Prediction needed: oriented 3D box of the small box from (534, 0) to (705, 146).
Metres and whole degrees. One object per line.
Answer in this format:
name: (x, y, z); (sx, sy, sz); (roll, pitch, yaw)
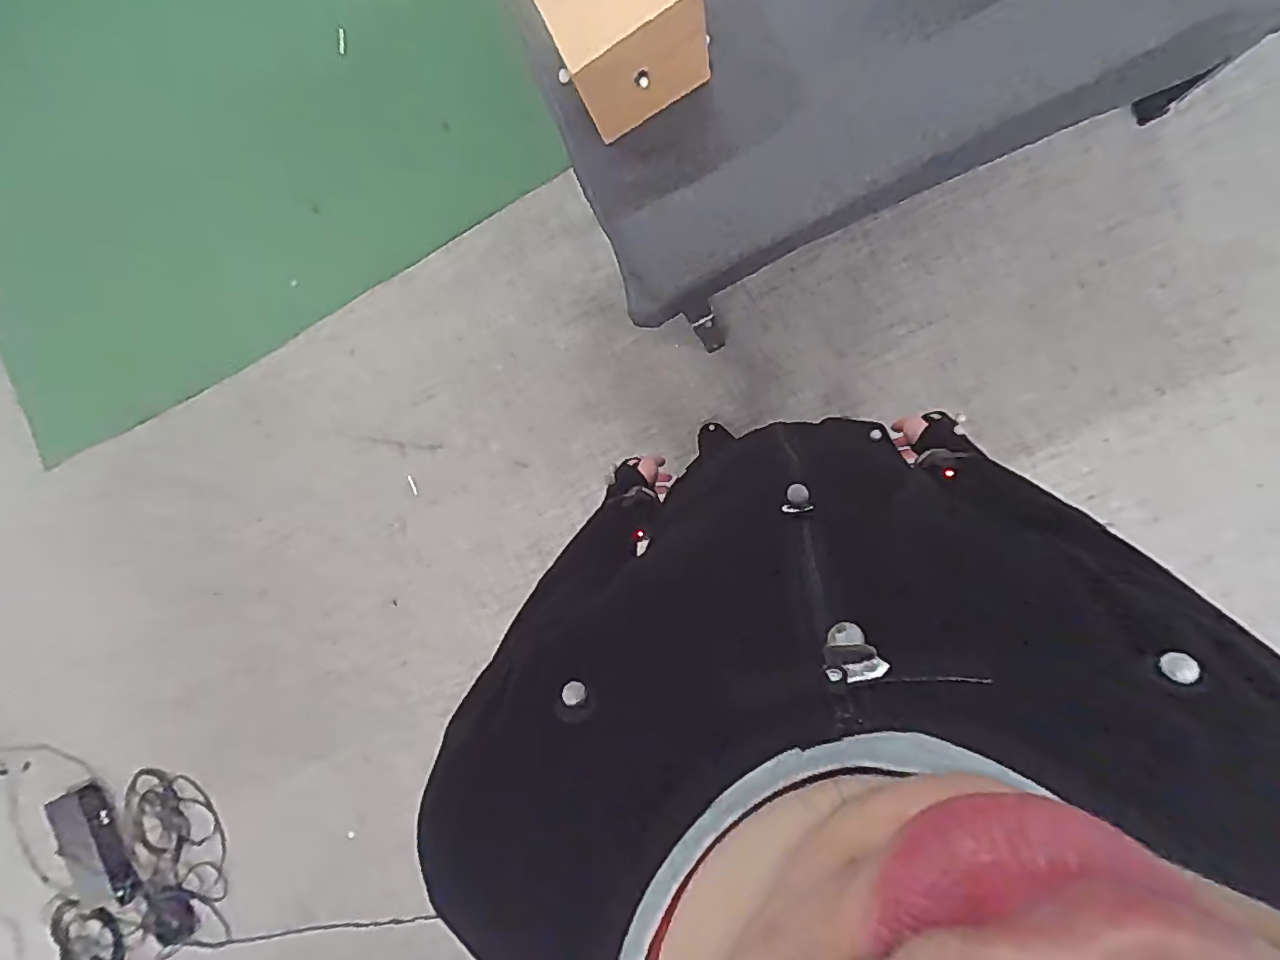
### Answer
small box: (-0.022, -0.596, 0.716); (0.179, 0.176, 0.168); (-26, 90, 13)
